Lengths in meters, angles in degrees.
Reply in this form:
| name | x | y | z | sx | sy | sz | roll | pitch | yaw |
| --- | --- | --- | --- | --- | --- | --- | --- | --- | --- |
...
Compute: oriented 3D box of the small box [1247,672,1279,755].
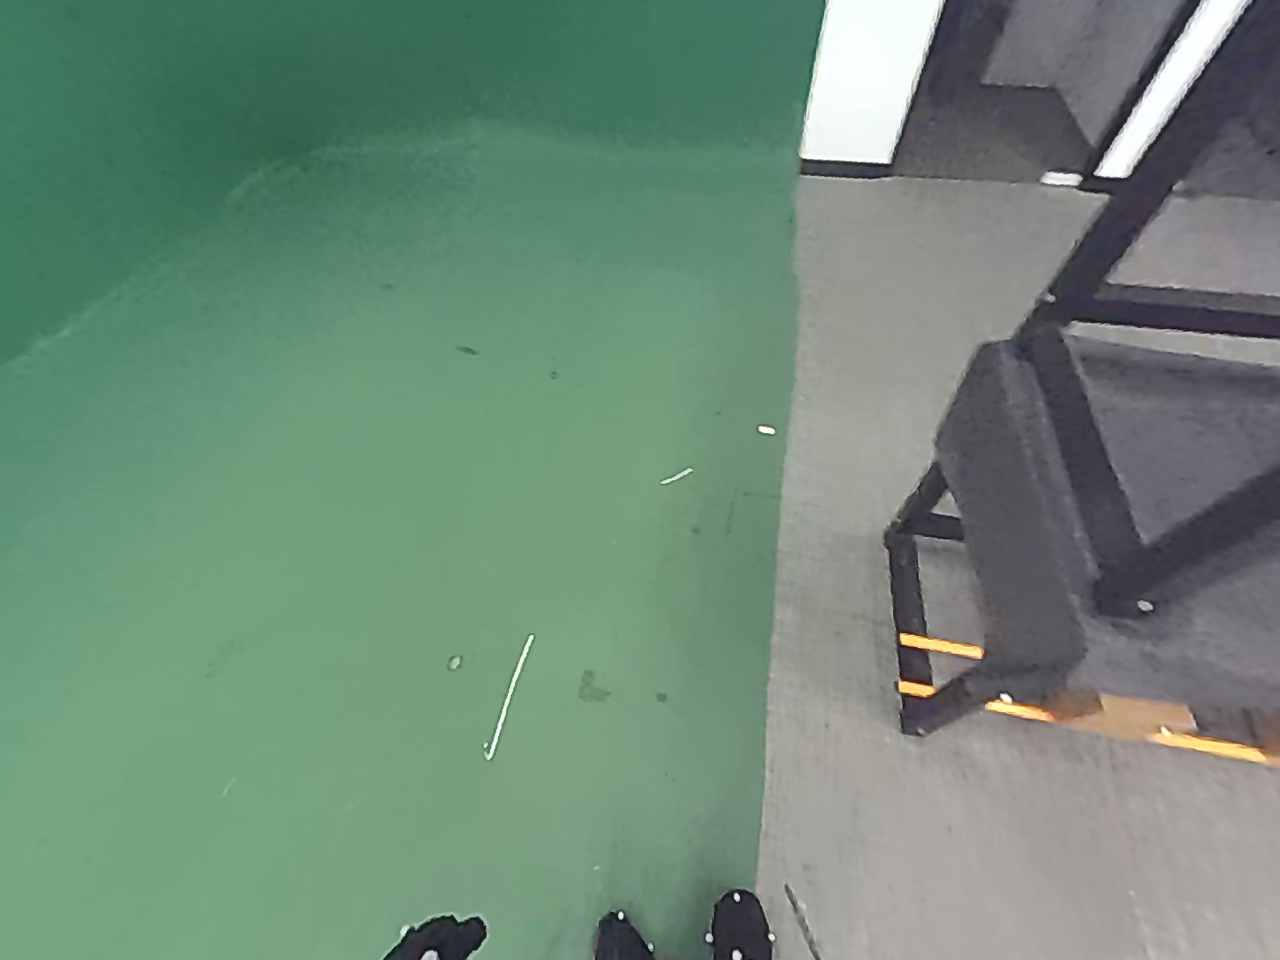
| name | x | y | z | sx | sy | sz | roll | pitch | yaw |
| --- | --- | --- | --- | --- | --- | --- | --- | --- | --- |
| small box | 1.460 | 0.507 | 1.131 | 0.168 | 0.176 | 0.179 | 11 | 56 | 10 |
